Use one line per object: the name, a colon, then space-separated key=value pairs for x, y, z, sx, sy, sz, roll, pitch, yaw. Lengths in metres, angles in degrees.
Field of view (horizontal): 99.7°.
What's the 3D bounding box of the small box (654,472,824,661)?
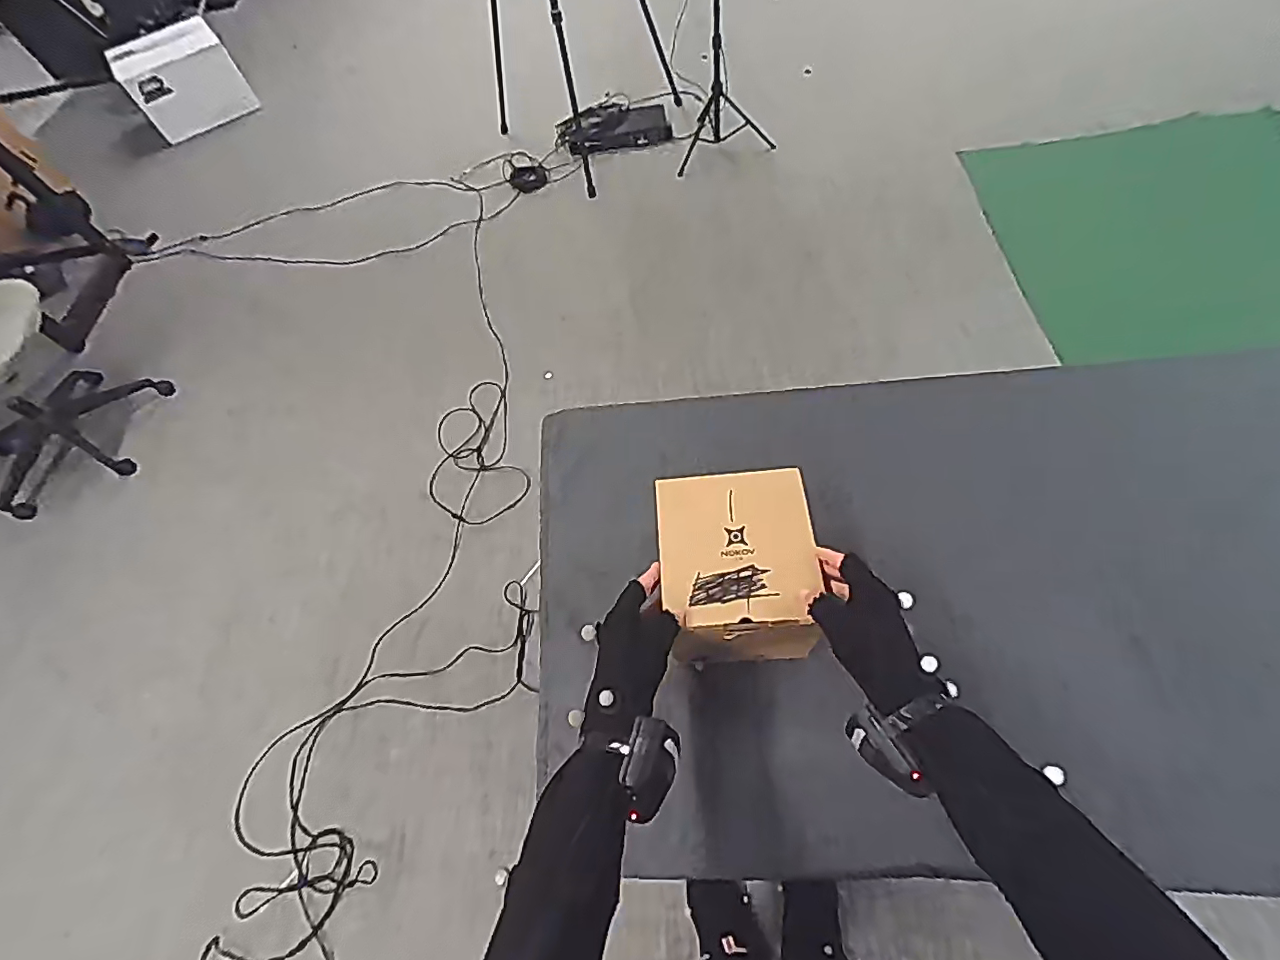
small box: x=0.109 y=0.112 z=0.643 sx=0.168 sy=0.176 sz=0.179 roll=-5 pitch=59 yaw=5
